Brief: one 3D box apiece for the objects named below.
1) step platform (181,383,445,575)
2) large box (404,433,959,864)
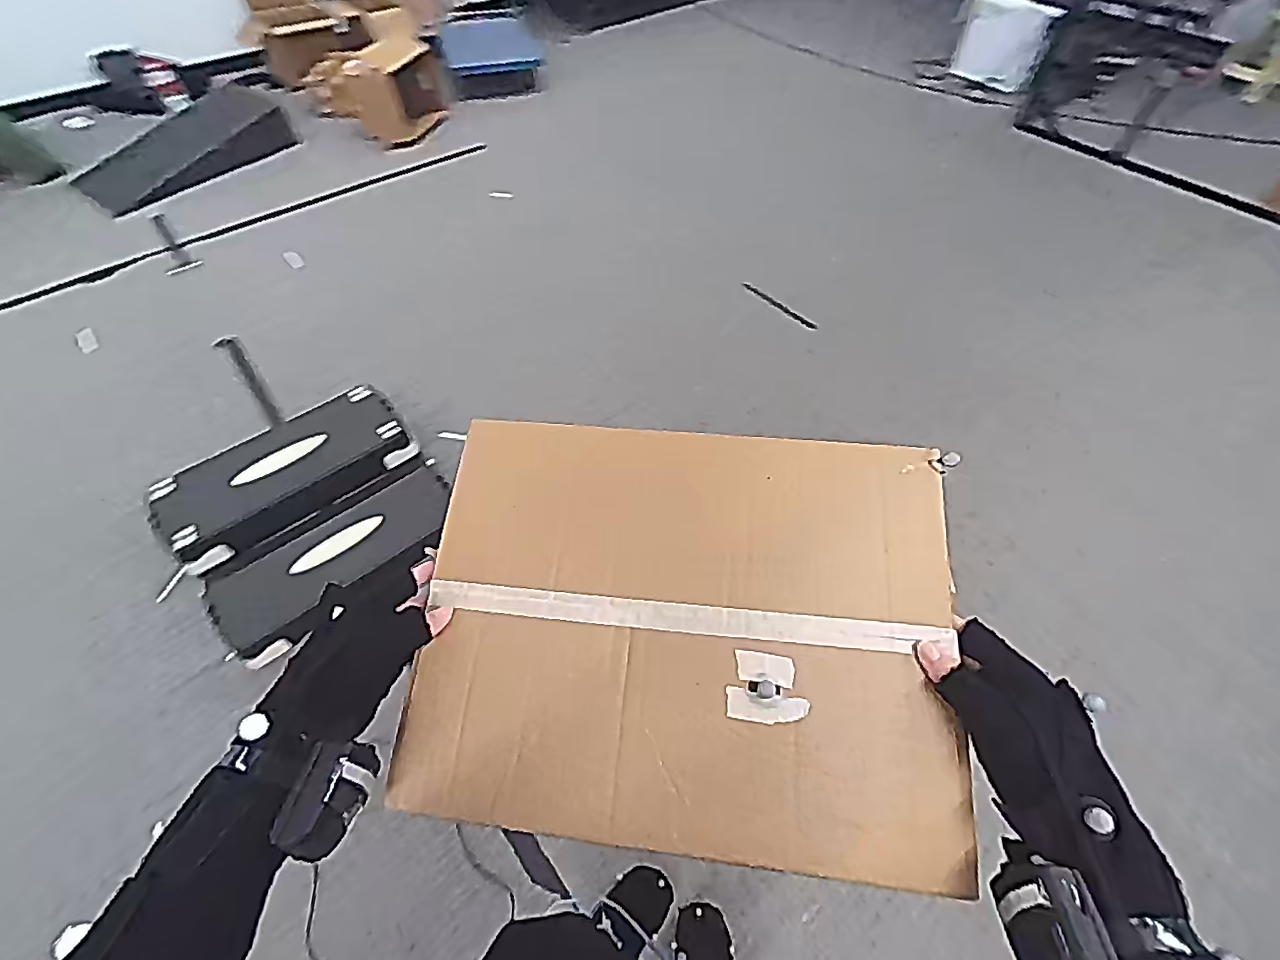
[{"bbox_3d":[-0.972,-0.024,1.648,0.684,0.204,0.286,-35,62,-23],"label":"step platform"},{"bbox_3d":[0.040,0.160,0.572,0.408,0.320,0.320,3,71,6],"label":"large box"}]
